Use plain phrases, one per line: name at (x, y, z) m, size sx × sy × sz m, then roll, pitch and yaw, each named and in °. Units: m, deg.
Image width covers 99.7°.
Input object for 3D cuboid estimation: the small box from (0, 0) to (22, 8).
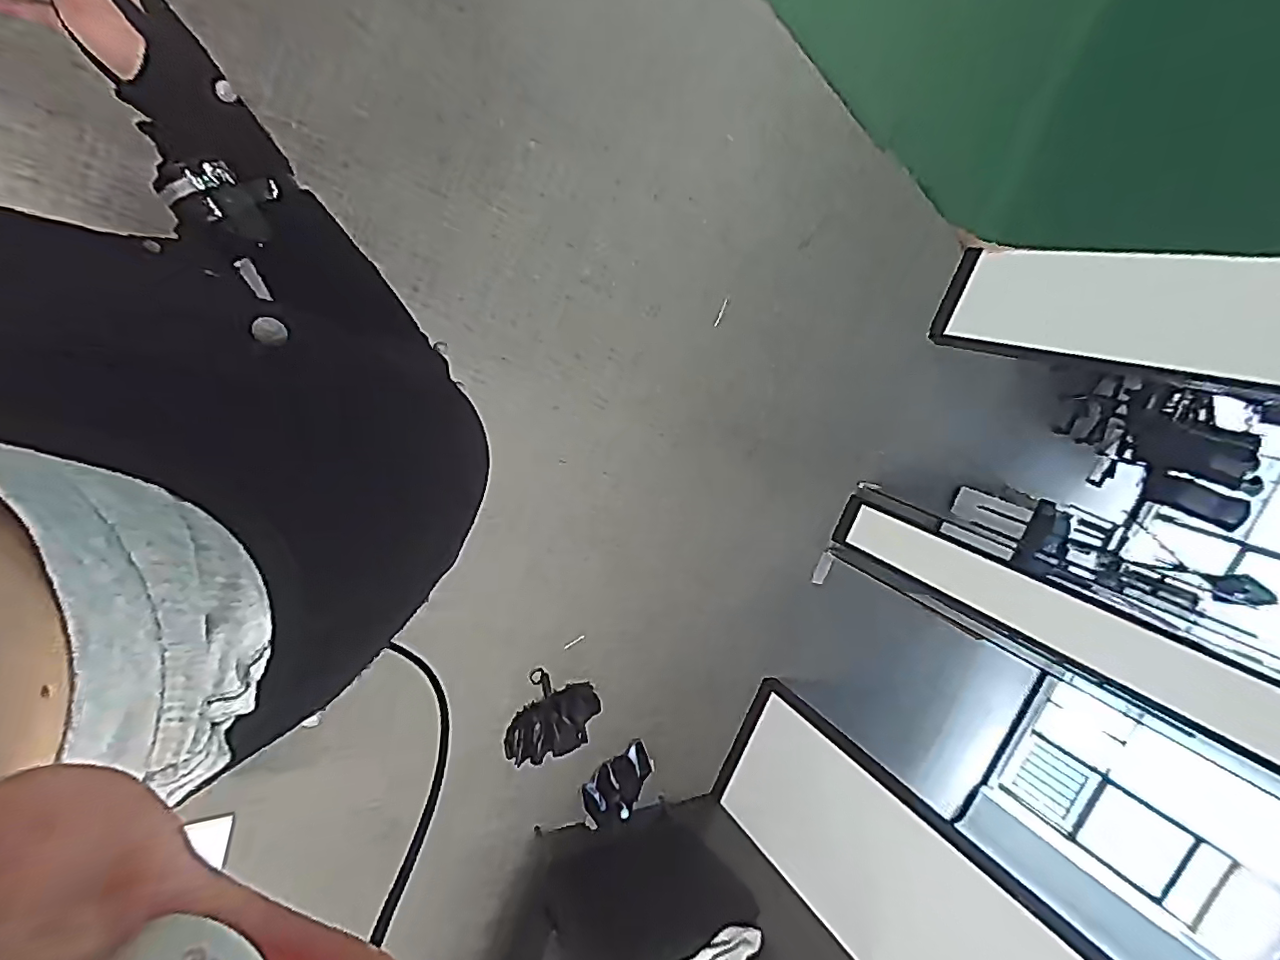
small box at (-0.414, -0.317, 0.217) m, size 0.168 × 0.176 × 0.179 m, roll -22°, pitch 135°, yaw -31°
